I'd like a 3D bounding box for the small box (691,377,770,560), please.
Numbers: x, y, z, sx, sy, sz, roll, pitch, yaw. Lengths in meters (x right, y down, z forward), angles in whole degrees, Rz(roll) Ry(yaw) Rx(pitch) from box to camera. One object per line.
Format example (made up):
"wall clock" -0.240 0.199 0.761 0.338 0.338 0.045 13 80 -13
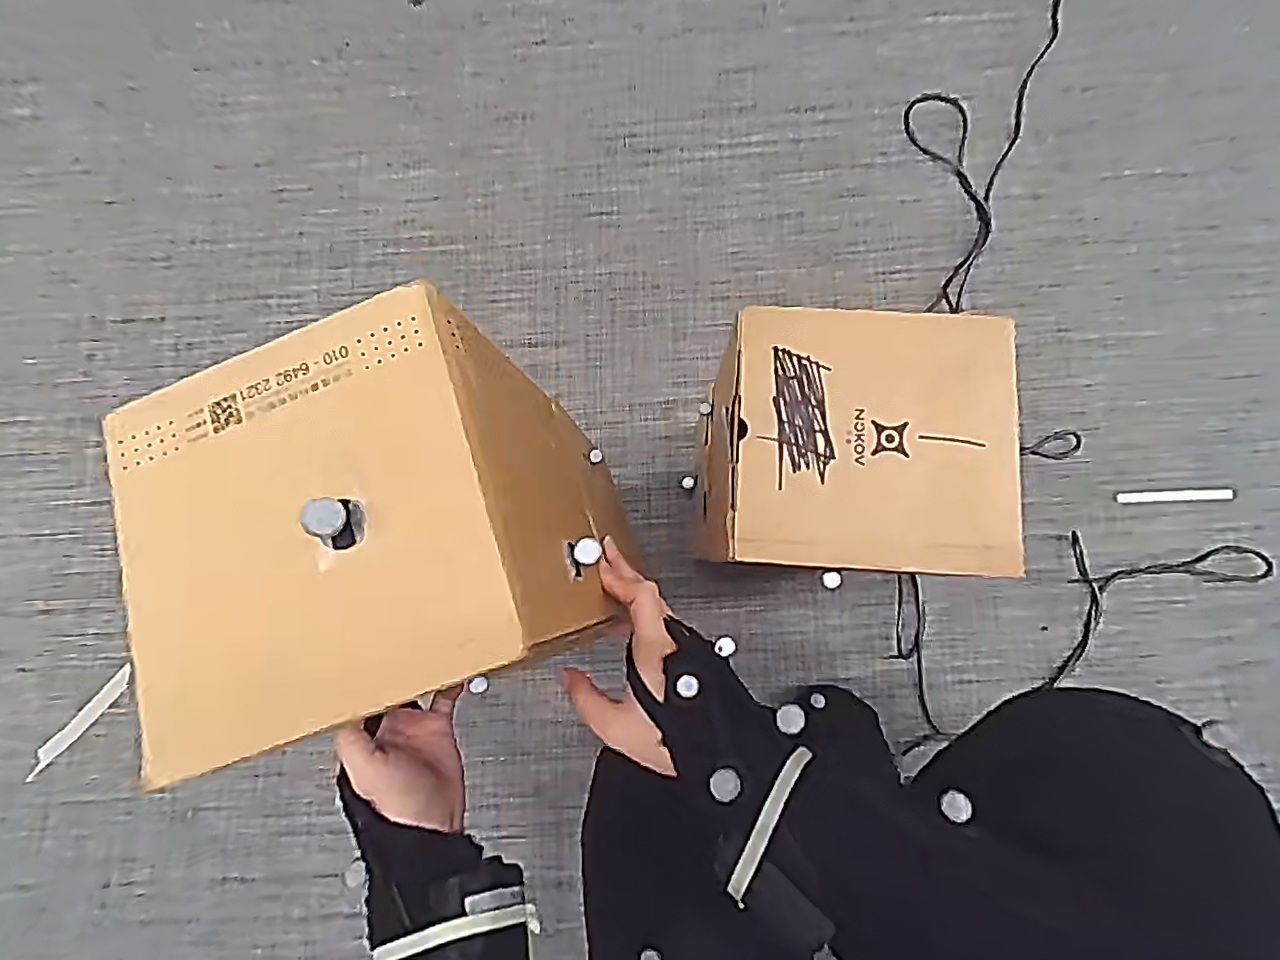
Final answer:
"small box" 0.150 -0.001 0.573 0.179 0.176 0.168 2 81 2

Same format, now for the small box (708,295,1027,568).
"small box" 0.148 -0.021 0.410 0.179 0.176 0.168 3 82 1
